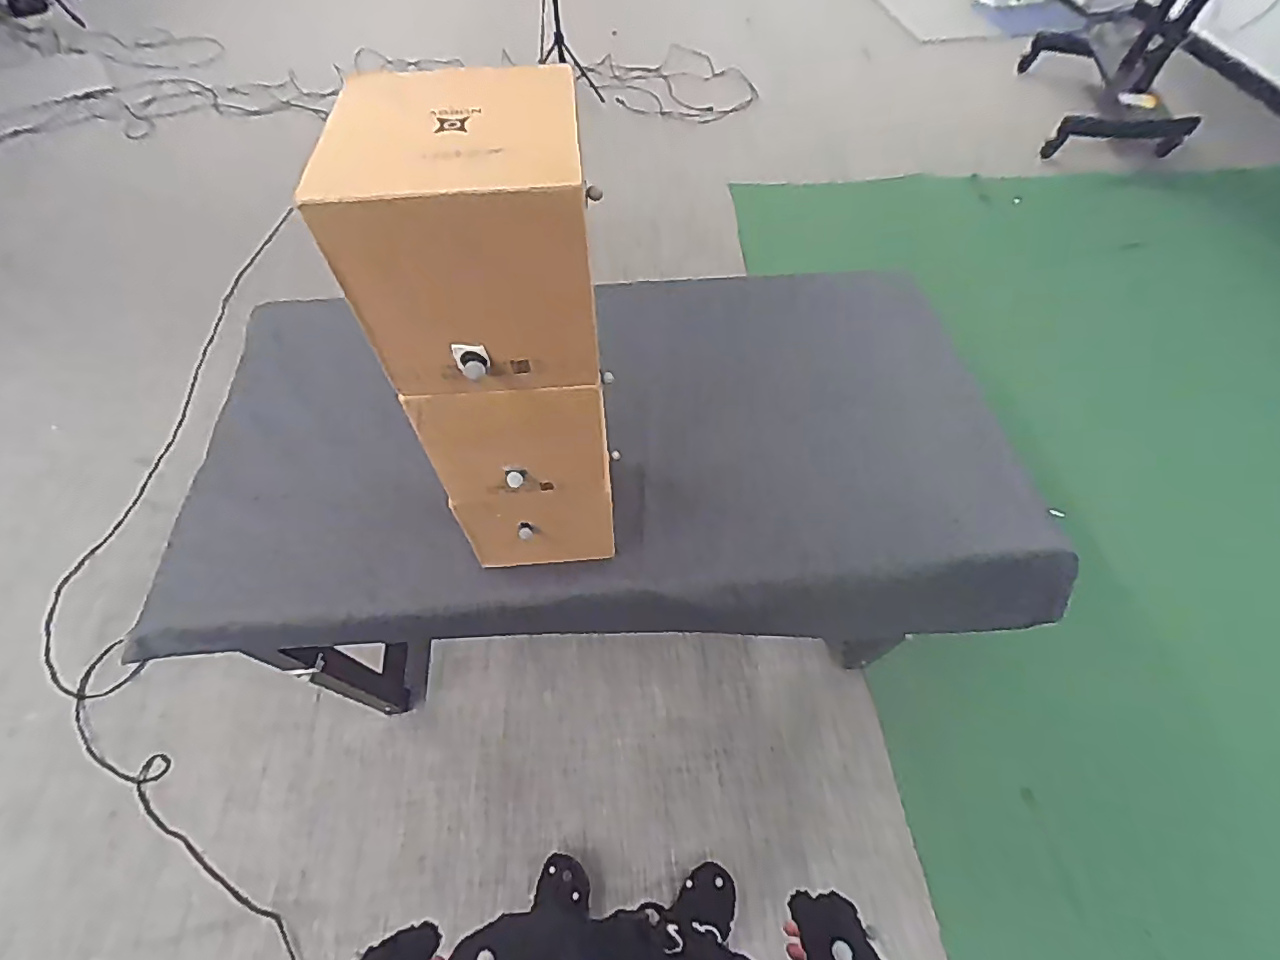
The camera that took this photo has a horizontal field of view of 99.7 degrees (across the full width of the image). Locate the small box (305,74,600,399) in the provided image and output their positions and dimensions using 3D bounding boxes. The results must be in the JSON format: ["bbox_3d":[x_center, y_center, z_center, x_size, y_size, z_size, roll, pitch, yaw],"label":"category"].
[{"bbox_3d":[-0.121,-0.187,0.427,0.168,0.176,0.179,-5,57,-3],"label":"small box"}]

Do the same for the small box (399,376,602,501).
[{"bbox_3d":[-0.125,-0.096,0.561,0.168,0.176,0.179,-3,57,-4],"label":"small box"}]

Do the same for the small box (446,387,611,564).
[{"bbox_3d":[-0.130,-0.001,0.695,0.179,0.176,0.168,-3,57,-4],"label":"small box"}]
